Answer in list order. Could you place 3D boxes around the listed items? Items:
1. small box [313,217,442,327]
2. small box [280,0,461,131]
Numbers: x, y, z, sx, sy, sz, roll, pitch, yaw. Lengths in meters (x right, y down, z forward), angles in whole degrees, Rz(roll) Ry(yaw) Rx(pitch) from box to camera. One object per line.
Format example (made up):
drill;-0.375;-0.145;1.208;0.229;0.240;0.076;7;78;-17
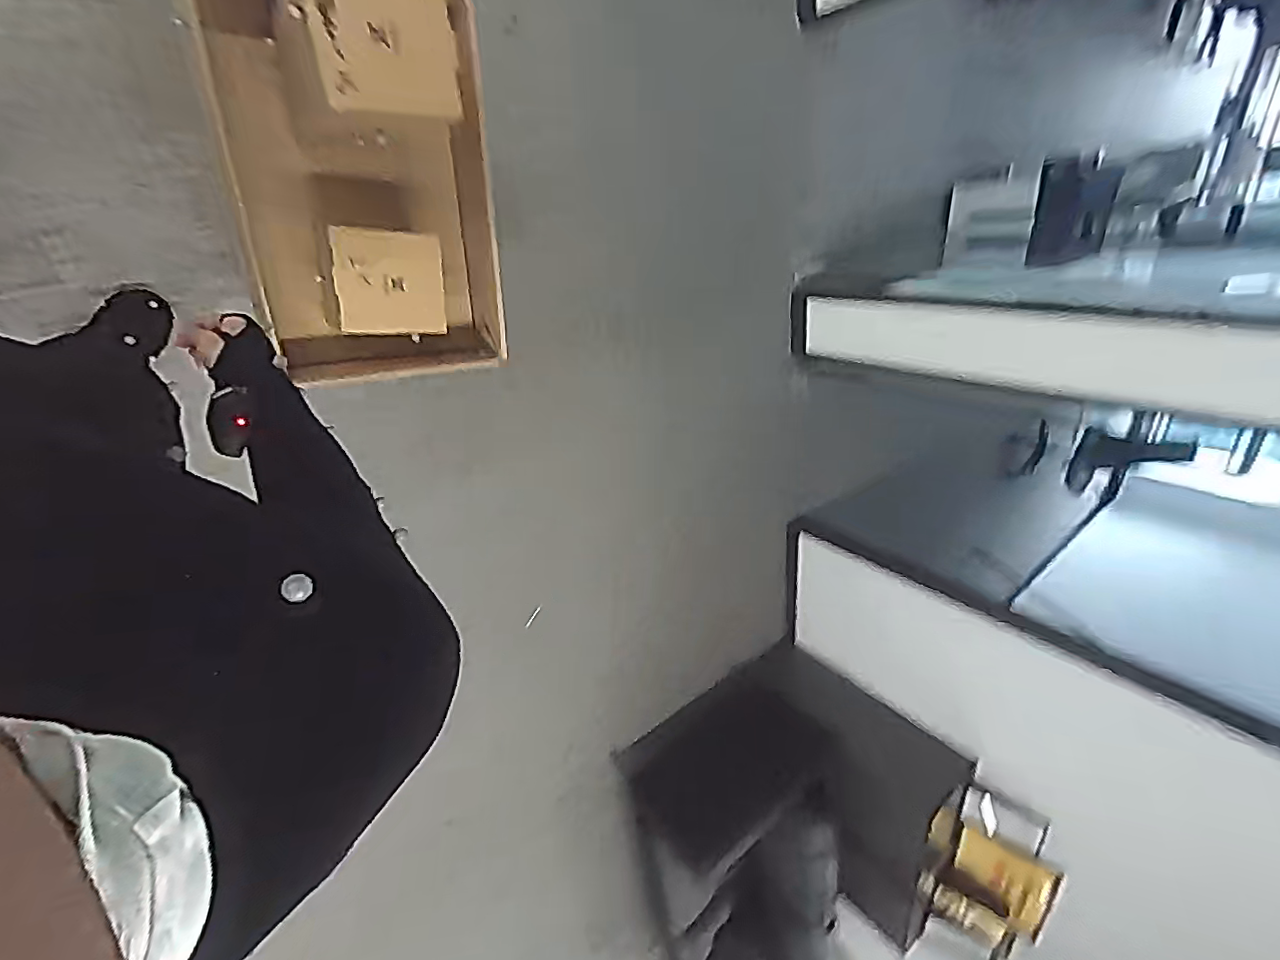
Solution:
small box;-0.474;-0.374;0.979;0.179;0.176;0.168;-10;114;-34
small box;-0.370;-0.594;0.744;0.179;0.176;0.168;-18;118;-31
